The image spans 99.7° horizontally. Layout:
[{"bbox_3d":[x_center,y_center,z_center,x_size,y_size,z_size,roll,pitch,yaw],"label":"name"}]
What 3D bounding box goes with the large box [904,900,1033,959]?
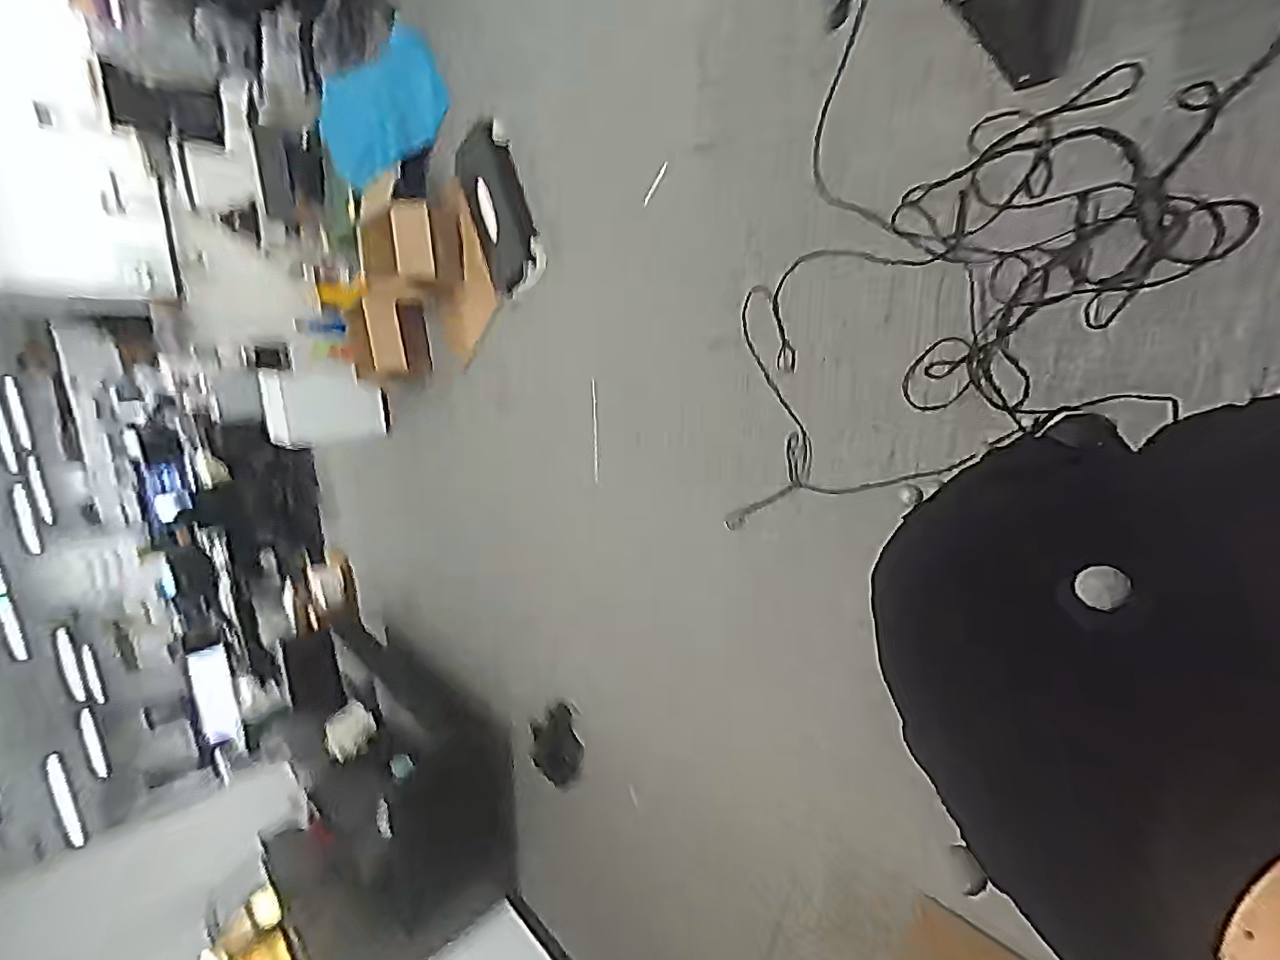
[{"bbox_3d":[0.836,1.327,1.254,0.408,0.320,0.320,13,109,45],"label":"large box"}]
